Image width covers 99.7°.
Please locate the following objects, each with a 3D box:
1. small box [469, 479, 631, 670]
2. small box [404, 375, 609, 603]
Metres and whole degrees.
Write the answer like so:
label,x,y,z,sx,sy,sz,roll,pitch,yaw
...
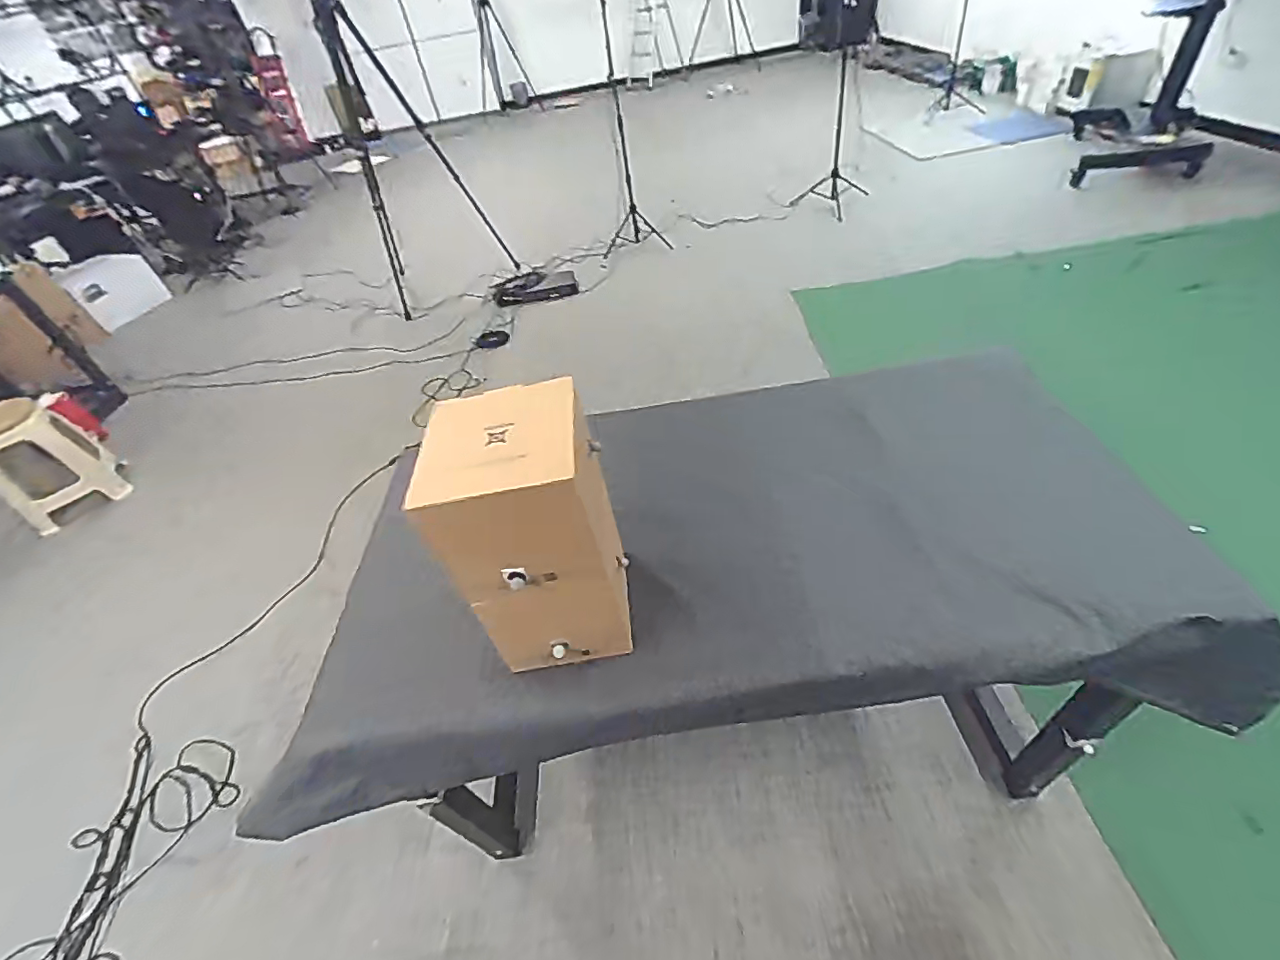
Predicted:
label,x,y,z,sx,sy,sz,roll,pitch,yaw
small box,-0.110,0.125,0.722,0.168,0.176,0.179,-11,44,2
small box,-0.134,0.011,0.609,0.168,0.176,0.179,-12,45,2
